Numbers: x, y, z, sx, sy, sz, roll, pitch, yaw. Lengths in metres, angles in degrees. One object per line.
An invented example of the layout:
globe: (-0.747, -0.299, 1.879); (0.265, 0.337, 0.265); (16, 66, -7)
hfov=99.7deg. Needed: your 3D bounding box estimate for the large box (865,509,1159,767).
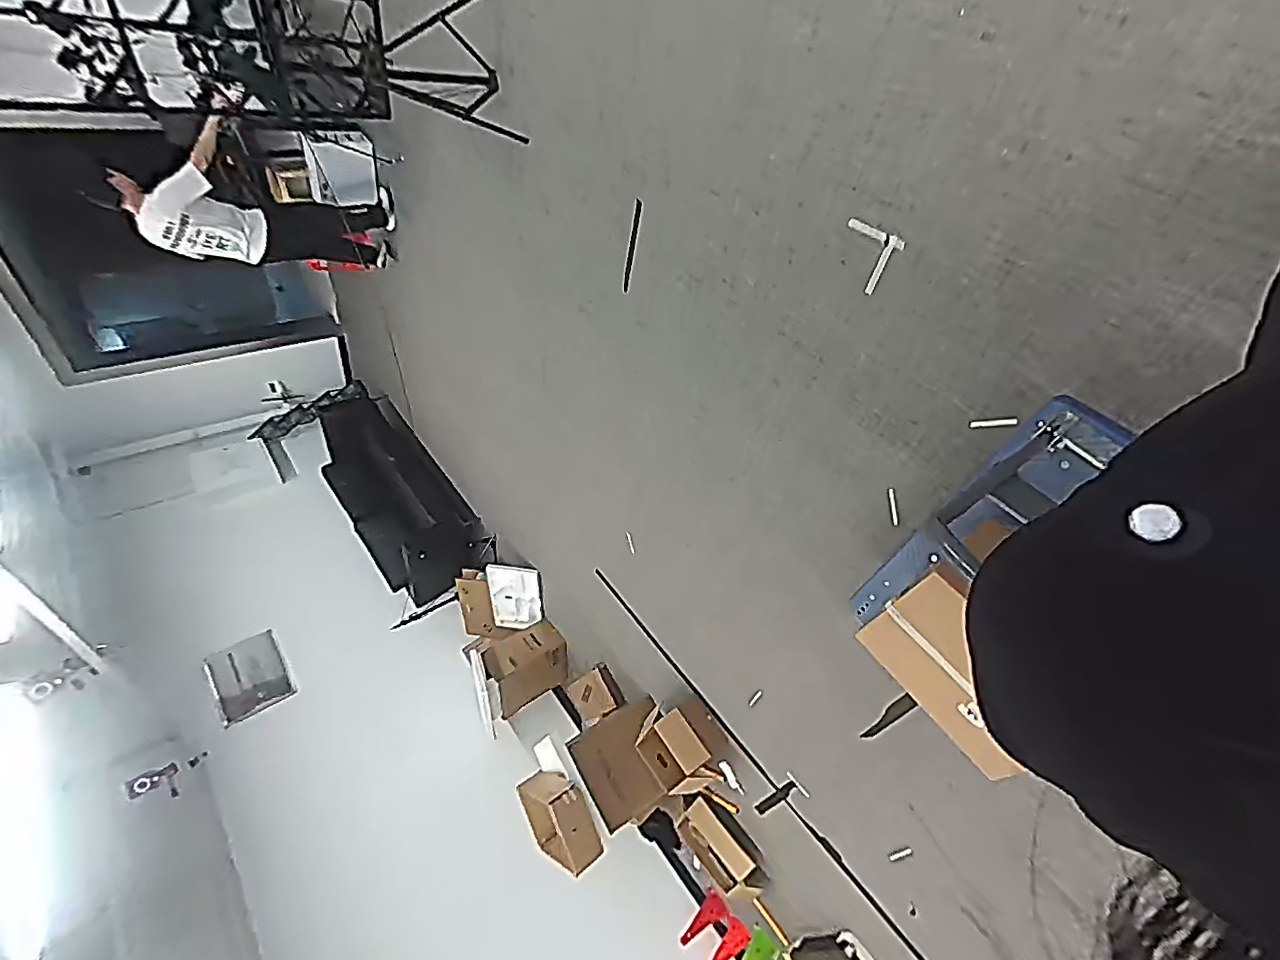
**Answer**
large box: (0.821, 0.343, 1.231); (0.408, 0.320, 0.320); (48, 143, 23)
